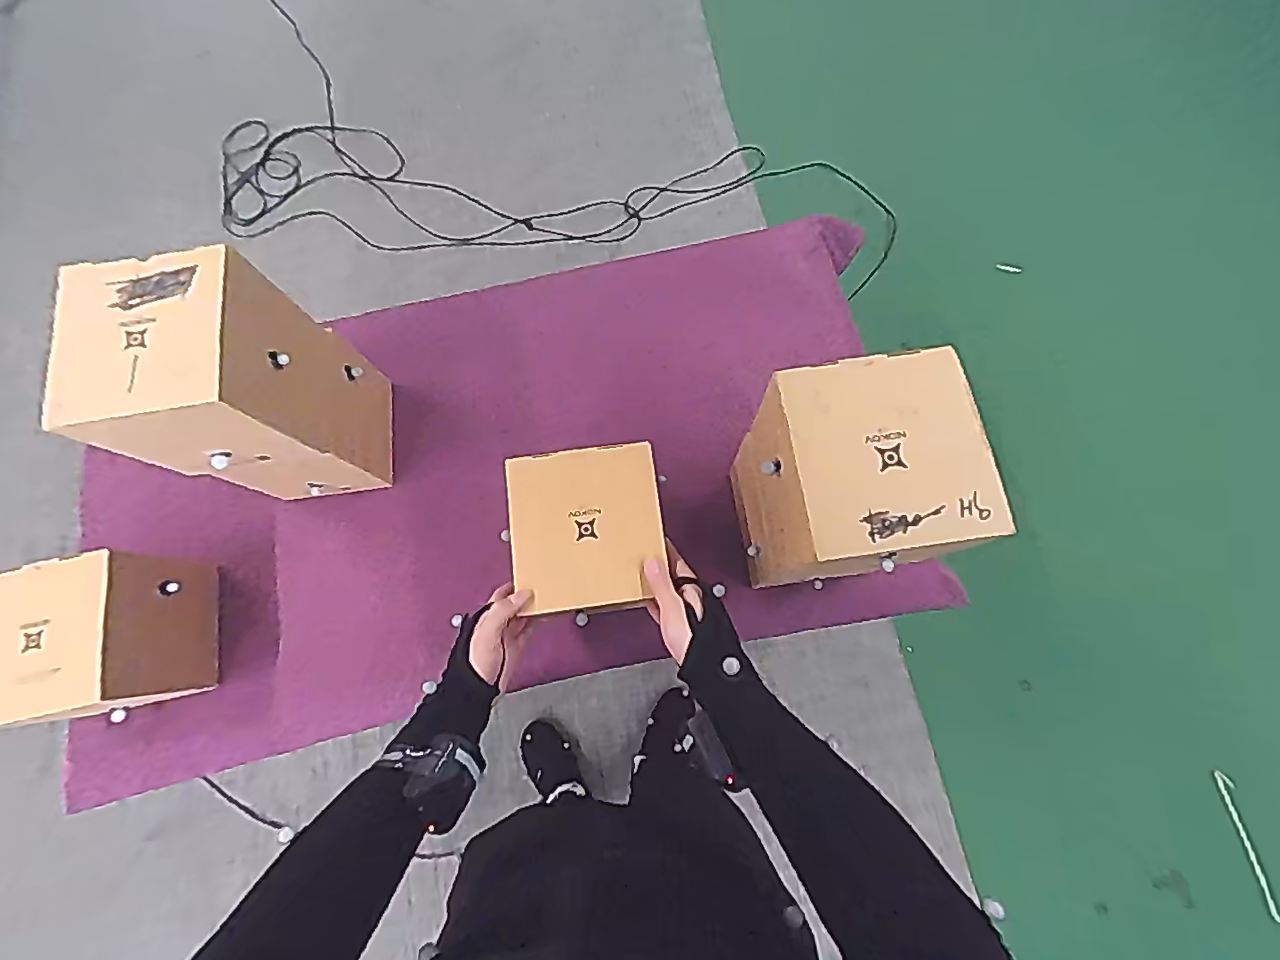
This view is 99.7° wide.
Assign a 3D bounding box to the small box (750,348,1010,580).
[{"bbox_3d":[0.214,-0.005,0.540,0.168,0.176,0.179,-8,74,1],"label":"small box"}]

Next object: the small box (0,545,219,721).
[{"bbox_3d":[-0.678,0.194,0.686,0.168,0.176,0.179,-12,74,-1],"label":"small box"}]

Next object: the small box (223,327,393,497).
[{"bbox_3d":[-0.464,-0.087,0.755,0.168,0.176,0.179,-7,75,0],"label":"small box"}]

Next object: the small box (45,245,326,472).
[{"bbox_3d":[-0.474,-0.122,0.595,0.168,0.176,0.179,-9,76,-1],"label":"small box"}]
